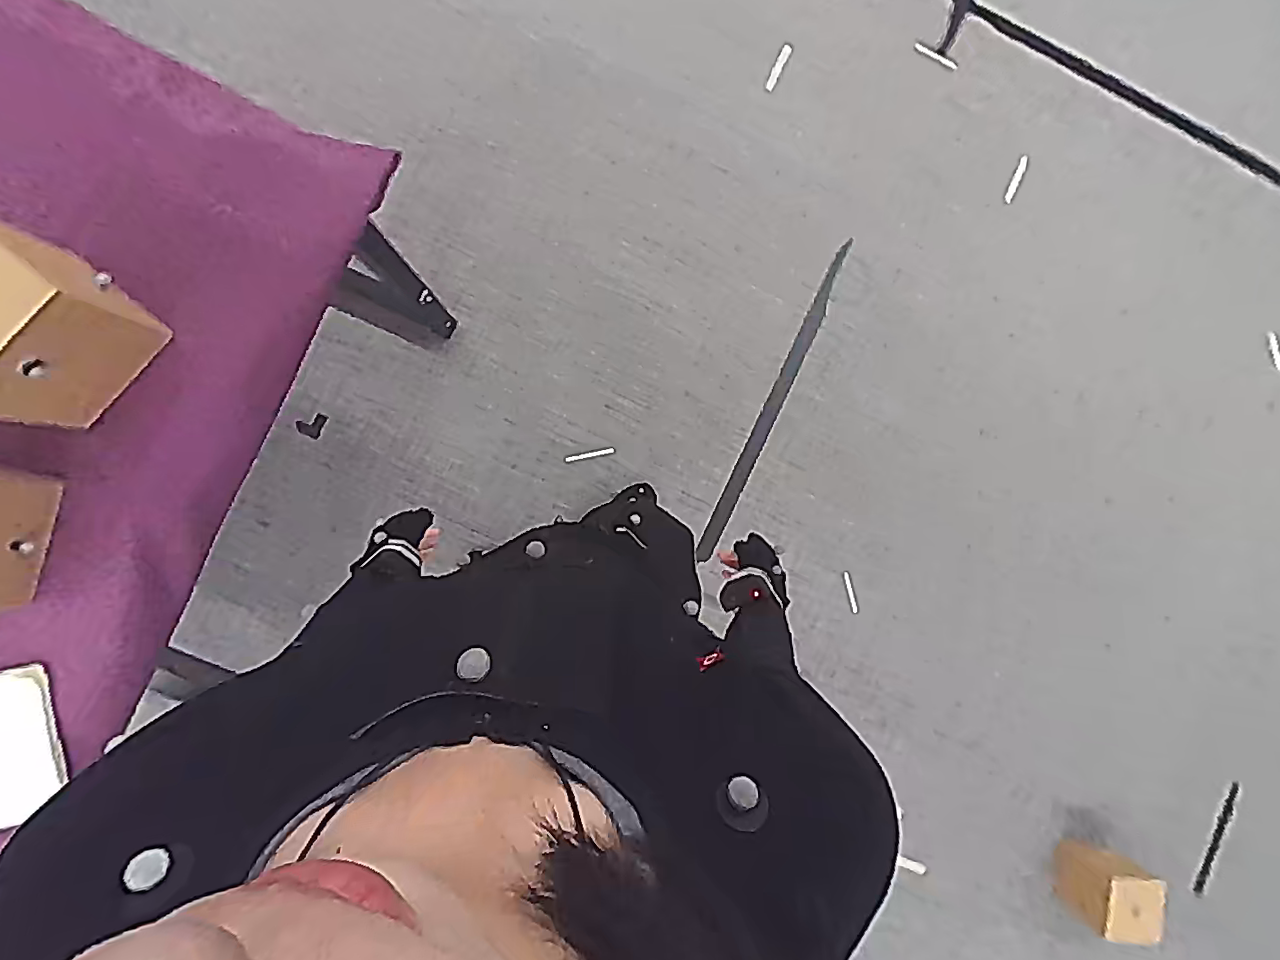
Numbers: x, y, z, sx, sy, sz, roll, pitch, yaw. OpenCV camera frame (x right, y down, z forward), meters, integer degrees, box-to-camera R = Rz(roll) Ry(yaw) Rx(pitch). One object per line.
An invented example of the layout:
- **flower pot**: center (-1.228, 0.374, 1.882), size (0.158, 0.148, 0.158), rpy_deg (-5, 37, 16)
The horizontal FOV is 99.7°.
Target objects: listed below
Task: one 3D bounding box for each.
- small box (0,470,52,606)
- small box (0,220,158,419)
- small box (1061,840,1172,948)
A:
- **small box**: center (-0.872, 0.061, 0.636), size (0.168, 0.176, 0.179), rpy_deg (13, 87, -4)
- **small box**: center (-0.757, -0.194, 0.651), size (0.168, 0.176, 0.179), rpy_deg (40, 85, -2)
- **small box**: center (1.340, 1.167, 1.531), size (0.168, 0.176, 0.179), rpy_deg (6, 87, -5)
